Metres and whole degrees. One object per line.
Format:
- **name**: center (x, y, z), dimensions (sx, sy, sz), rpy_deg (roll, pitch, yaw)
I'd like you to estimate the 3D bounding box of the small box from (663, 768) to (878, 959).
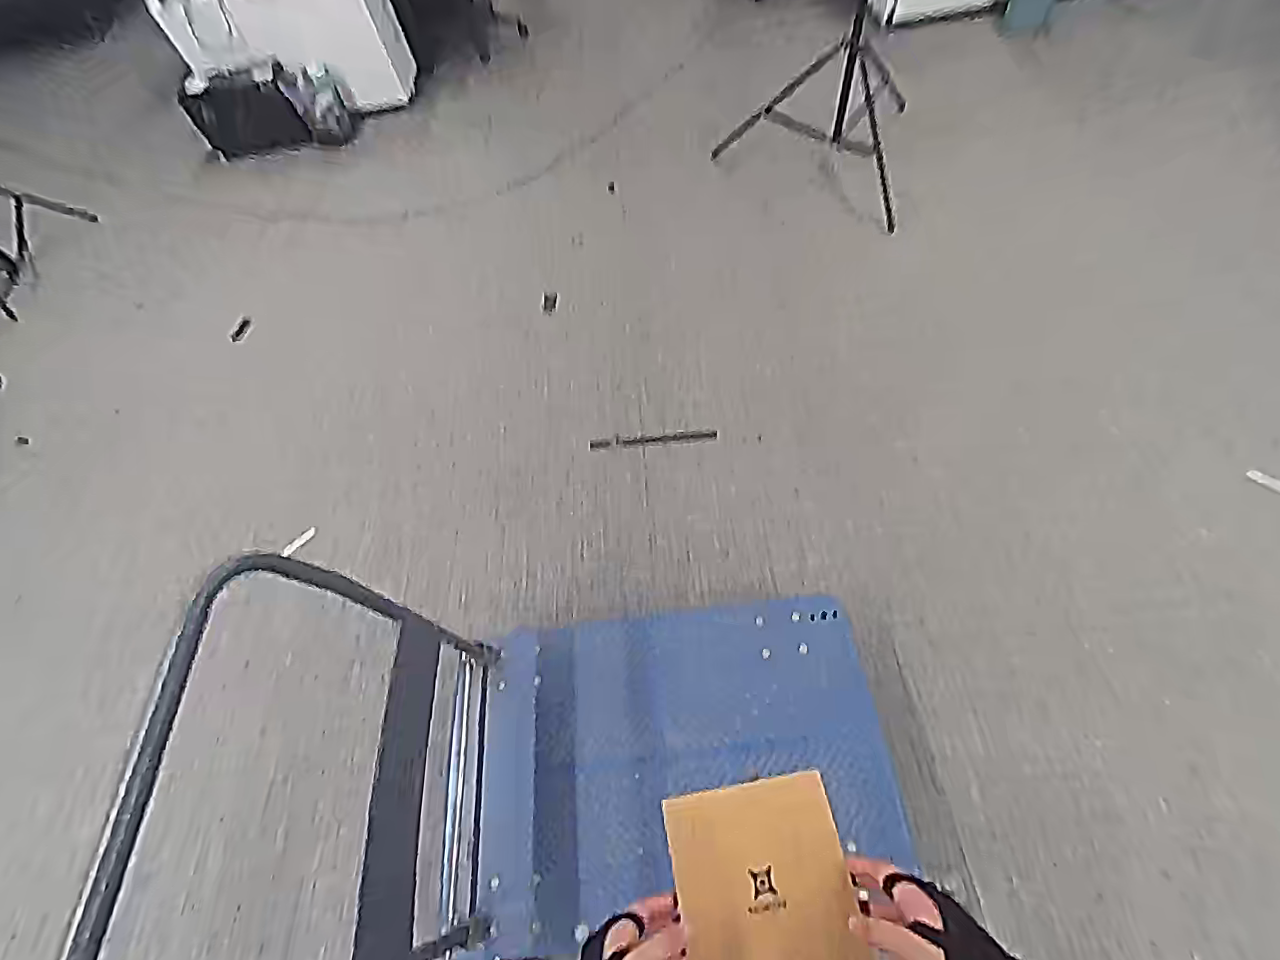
- **small box**: center (0.120, 0.416, 0.563), dimensions (0.168, 0.176, 0.179), rpy_deg (-11, 60, -2)
